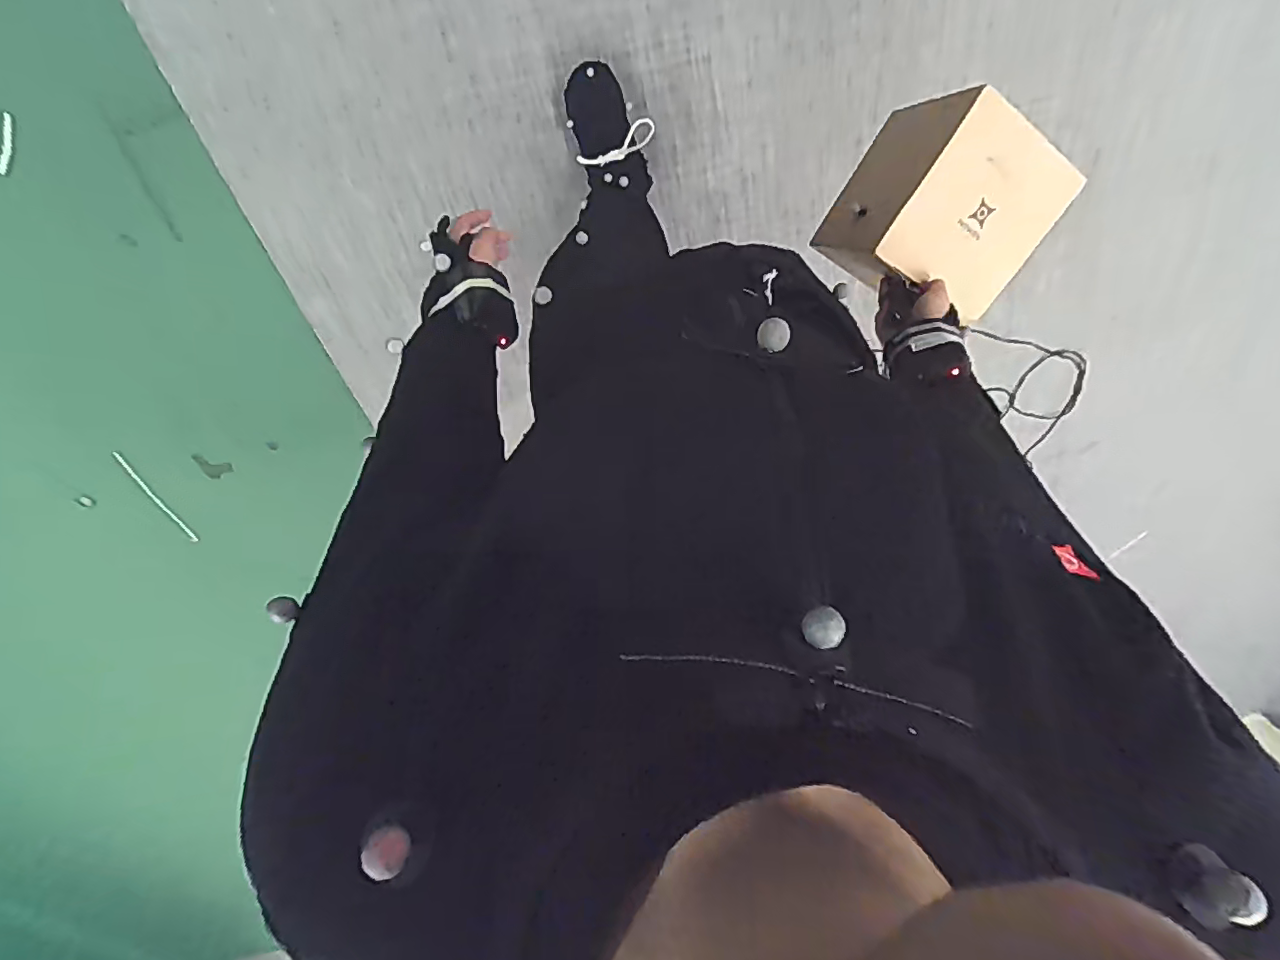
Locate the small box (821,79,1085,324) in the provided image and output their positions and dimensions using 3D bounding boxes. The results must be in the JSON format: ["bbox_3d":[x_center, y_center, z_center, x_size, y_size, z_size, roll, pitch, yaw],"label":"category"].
[{"bbox_3d":[0.340,-0.312,0.632,0.168,0.176,0.179,24,110,-19],"label":"small box"}]
